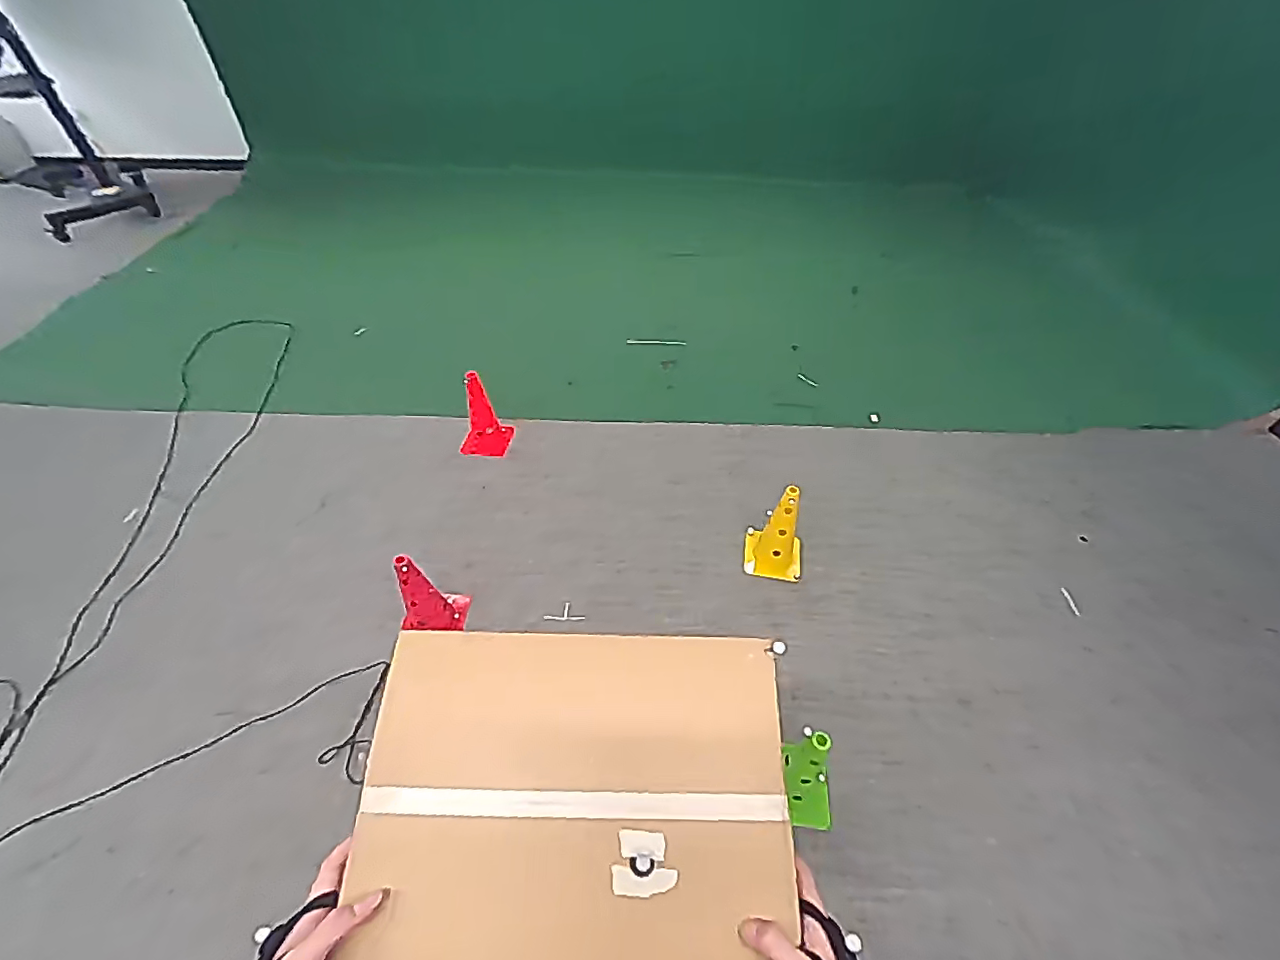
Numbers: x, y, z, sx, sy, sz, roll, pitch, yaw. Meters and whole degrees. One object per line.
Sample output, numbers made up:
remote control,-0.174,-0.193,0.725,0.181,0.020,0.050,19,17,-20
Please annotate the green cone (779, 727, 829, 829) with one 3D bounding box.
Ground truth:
green cone,0.407,0.709,1.348,0.200,0.368,0.202,6,46,4

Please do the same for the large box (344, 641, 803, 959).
large box,-0.060,0.384,0.650,0.408,0.320,0.320,1,63,0

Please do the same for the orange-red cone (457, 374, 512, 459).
orange-red cone,-0.681,-0.284,2.242,0.199,0.360,0.198,6,47,6
